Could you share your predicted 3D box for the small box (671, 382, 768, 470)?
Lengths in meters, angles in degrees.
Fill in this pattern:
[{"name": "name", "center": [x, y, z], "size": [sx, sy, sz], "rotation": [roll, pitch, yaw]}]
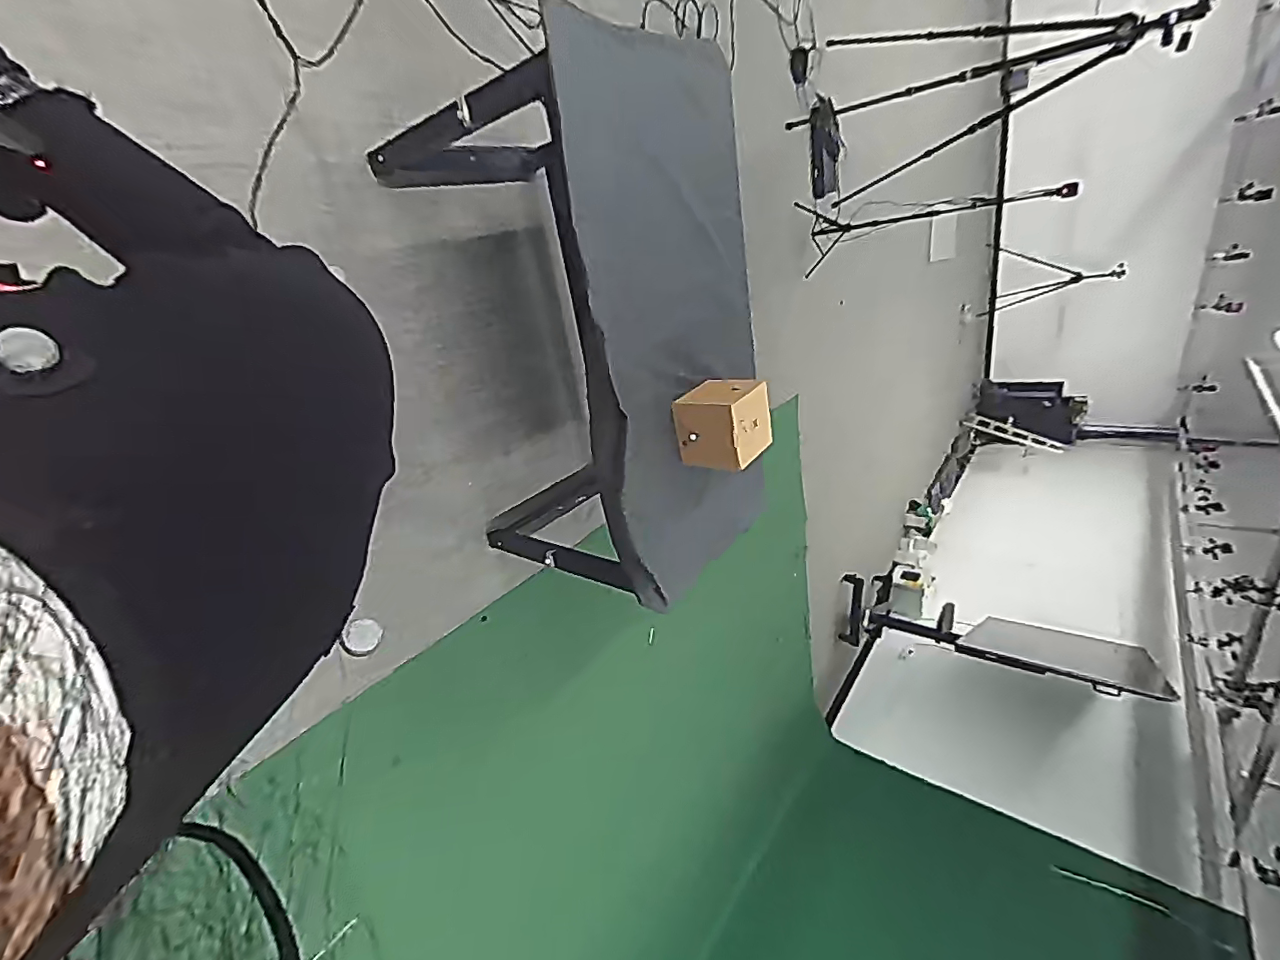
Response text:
[{"name": "small box", "center": [0.199, -0.141, 1.341], "size": [0.179, 0.176, 0.168], "rotation": [-36, 123, -41]}]
